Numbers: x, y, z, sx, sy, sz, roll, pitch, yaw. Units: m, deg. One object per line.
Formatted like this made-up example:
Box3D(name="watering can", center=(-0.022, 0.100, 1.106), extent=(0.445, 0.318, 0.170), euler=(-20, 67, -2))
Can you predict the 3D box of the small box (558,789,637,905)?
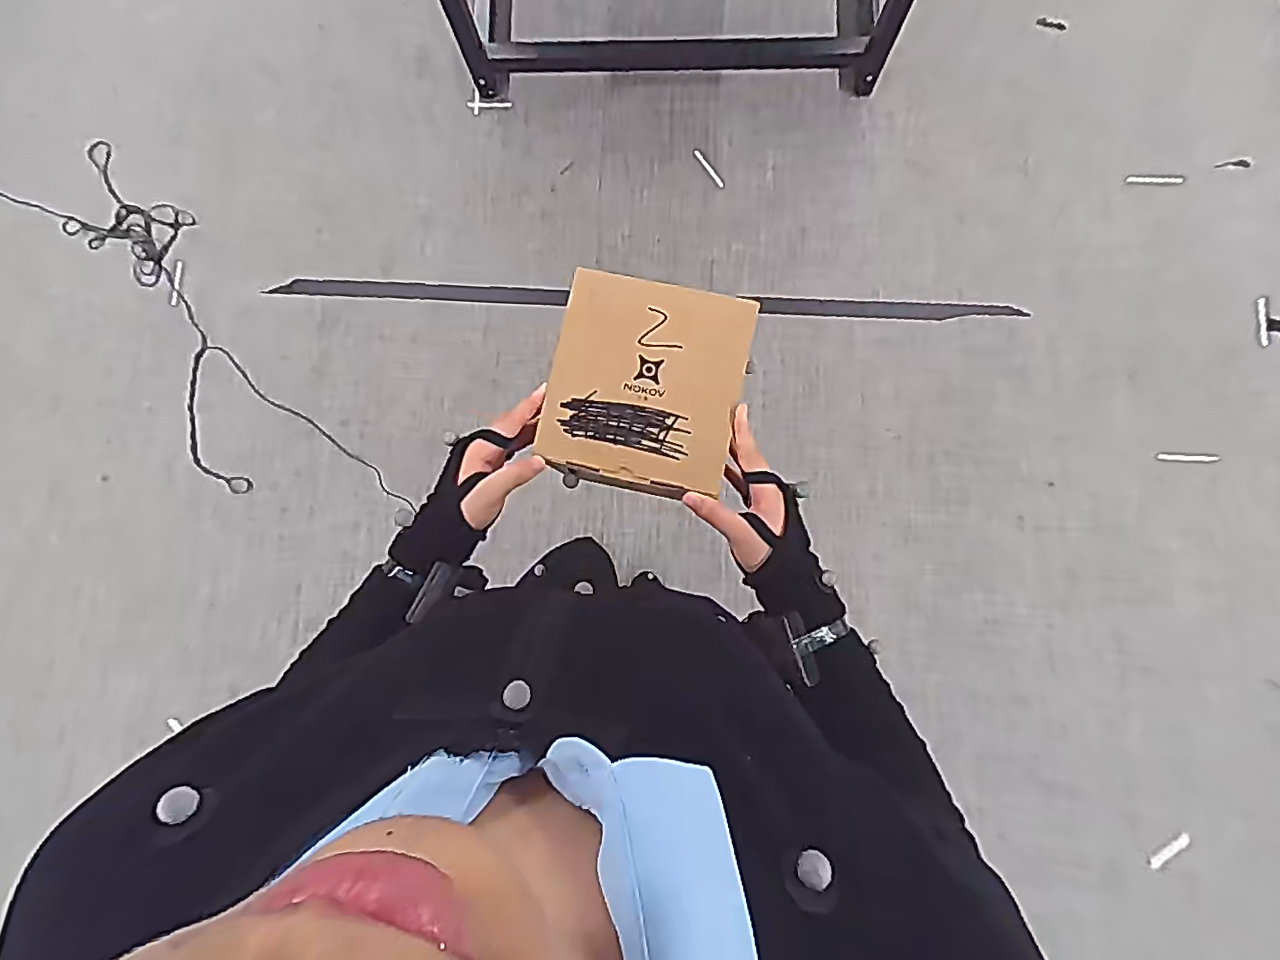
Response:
Box3D(name="small box", center=(-0.099, 0.897, 1.339), extent=(0.168, 0.176, 0.179), euler=(6, 84, 3))
